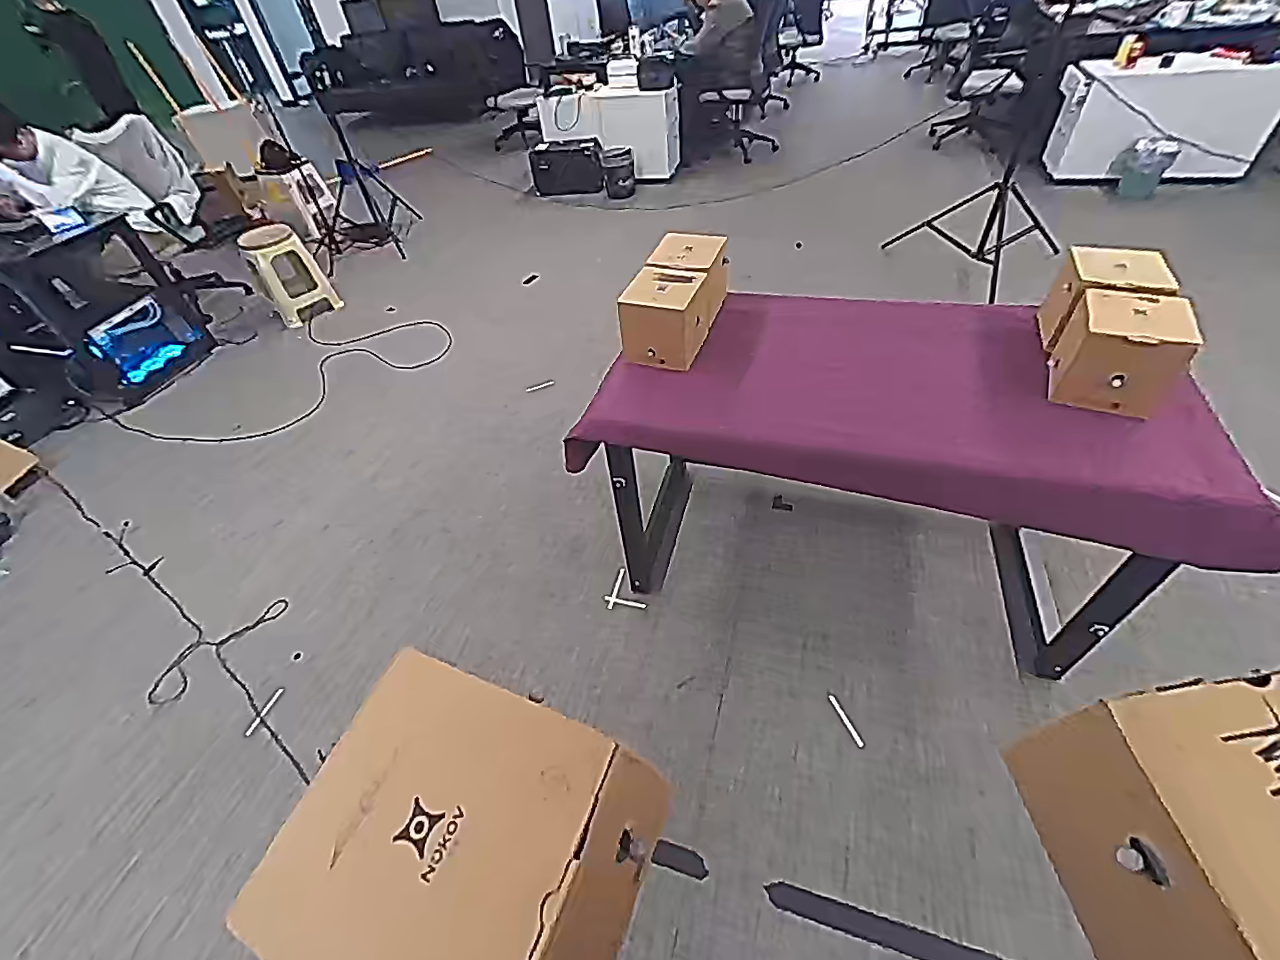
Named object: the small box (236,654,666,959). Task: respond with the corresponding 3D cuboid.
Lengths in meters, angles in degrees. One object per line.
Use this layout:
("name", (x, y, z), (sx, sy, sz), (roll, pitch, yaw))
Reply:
("small box", (-0.097, 0.246, 0.363), (0.179, 0.176, 0.168), (11, 56, 24))

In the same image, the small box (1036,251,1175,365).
("small box", (1.001, -0.377, 1.184), (0.168, 0.176, 0.179), (13, 48, 17))

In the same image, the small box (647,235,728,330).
("small box", (0.127, -0.521, 1.428), (0.168, 0.176, 0.179), (12, 50, 18))

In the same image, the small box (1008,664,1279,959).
("small box", (0.362, 0.222, 0.316), (0.168, 0.176, 0.179), (-12, 54, 4))
